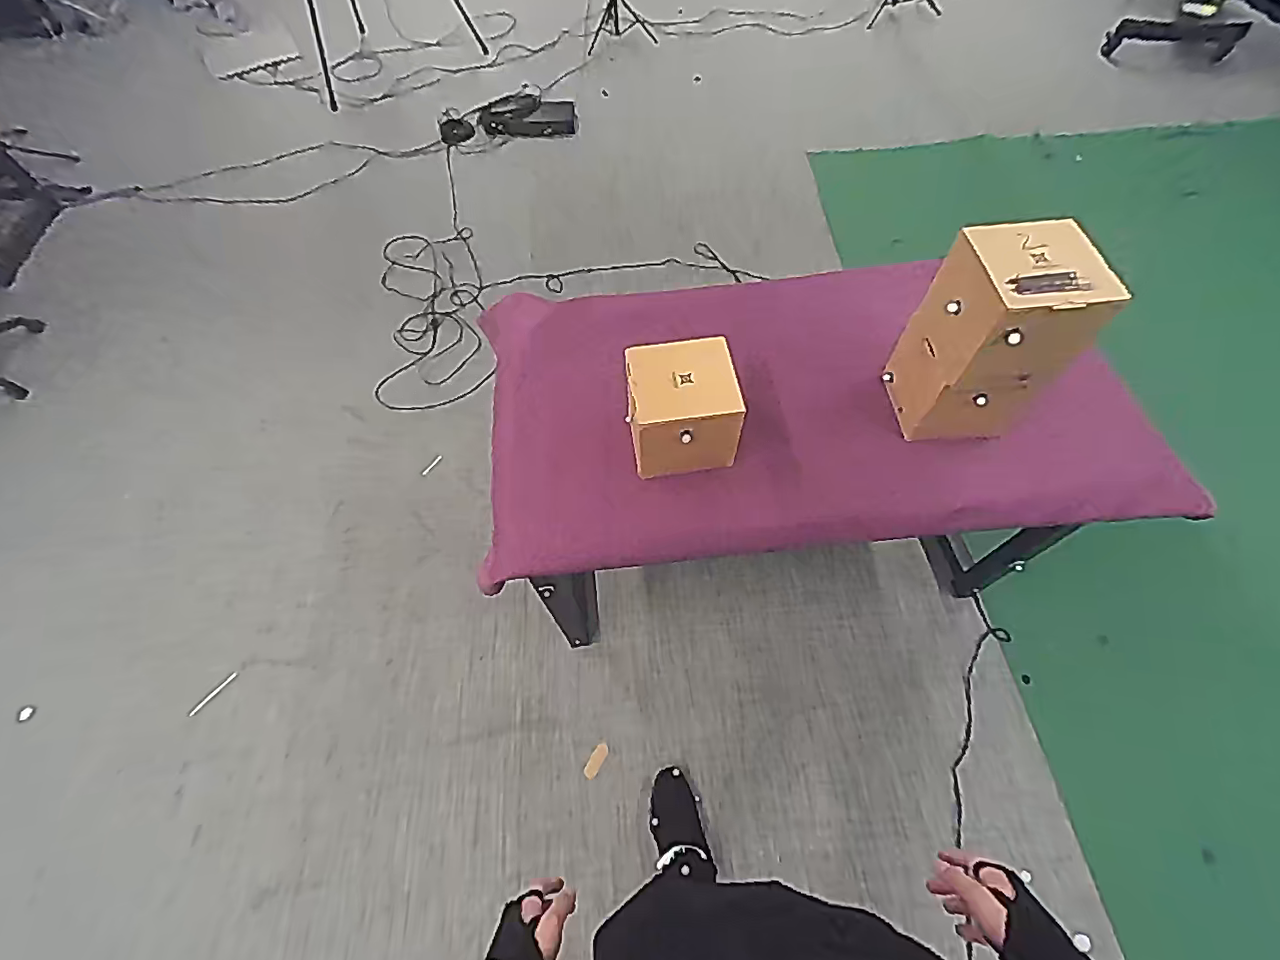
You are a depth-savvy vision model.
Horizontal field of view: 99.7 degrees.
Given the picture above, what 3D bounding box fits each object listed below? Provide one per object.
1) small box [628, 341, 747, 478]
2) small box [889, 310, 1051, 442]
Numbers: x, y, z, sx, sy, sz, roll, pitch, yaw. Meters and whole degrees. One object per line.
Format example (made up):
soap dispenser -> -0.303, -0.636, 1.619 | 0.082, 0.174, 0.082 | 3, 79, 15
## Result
small box -> 0.076, -0.120, 0.958 | 0.179, 0.176, 0.168 | -8, 60, -2
small box -> 0.571, -0.181, 0.971 | 0.179, 0.176, 0.168 | -4, 60, 0
